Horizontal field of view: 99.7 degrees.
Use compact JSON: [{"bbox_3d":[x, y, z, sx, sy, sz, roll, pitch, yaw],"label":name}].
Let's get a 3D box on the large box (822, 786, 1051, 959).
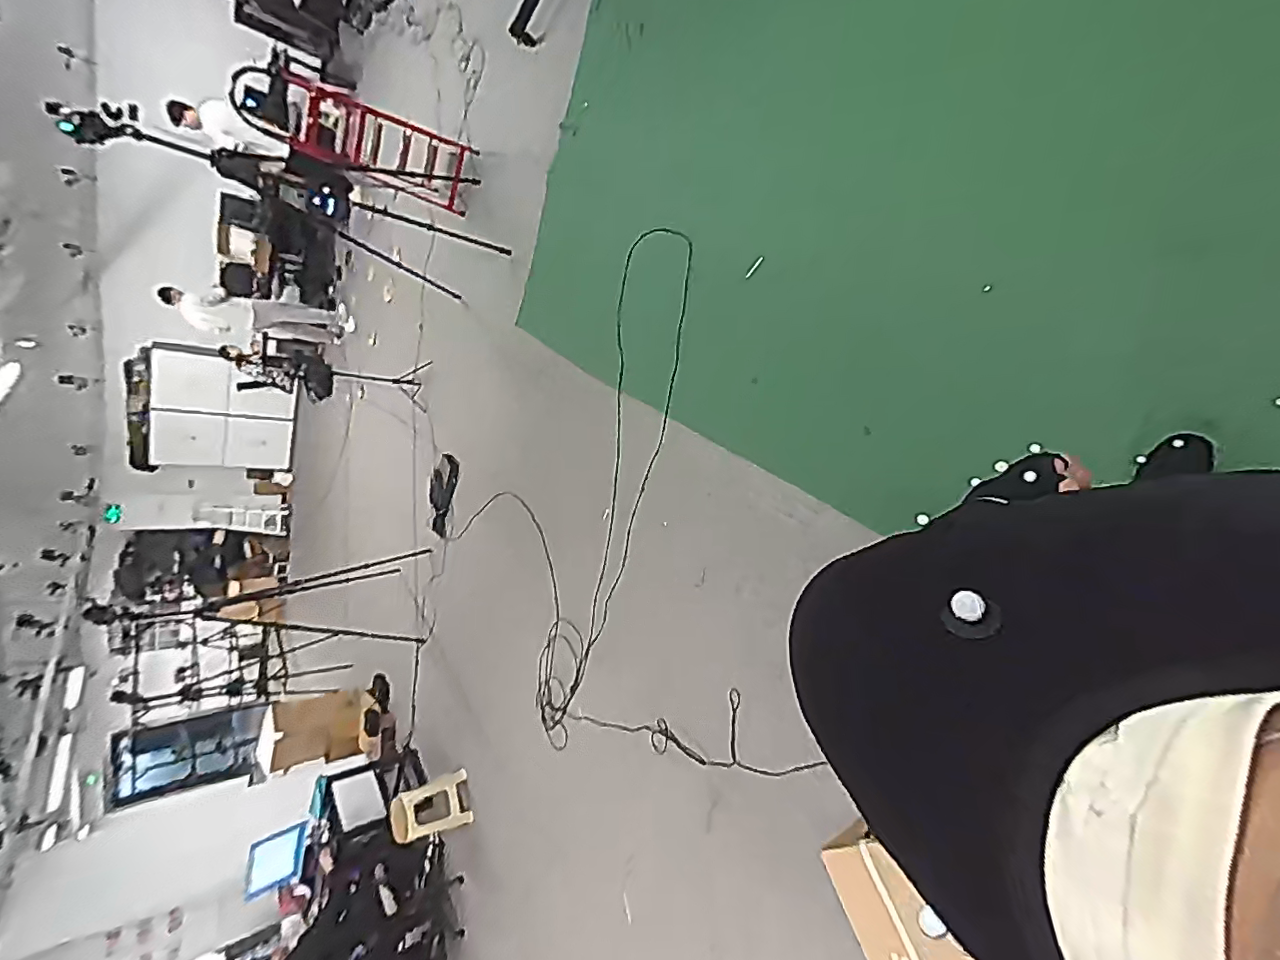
[{"bbox_3d":[0.770,1.103,1.428,0.320,0.320,0.408,-45,58,38],"label":"large box"}]
